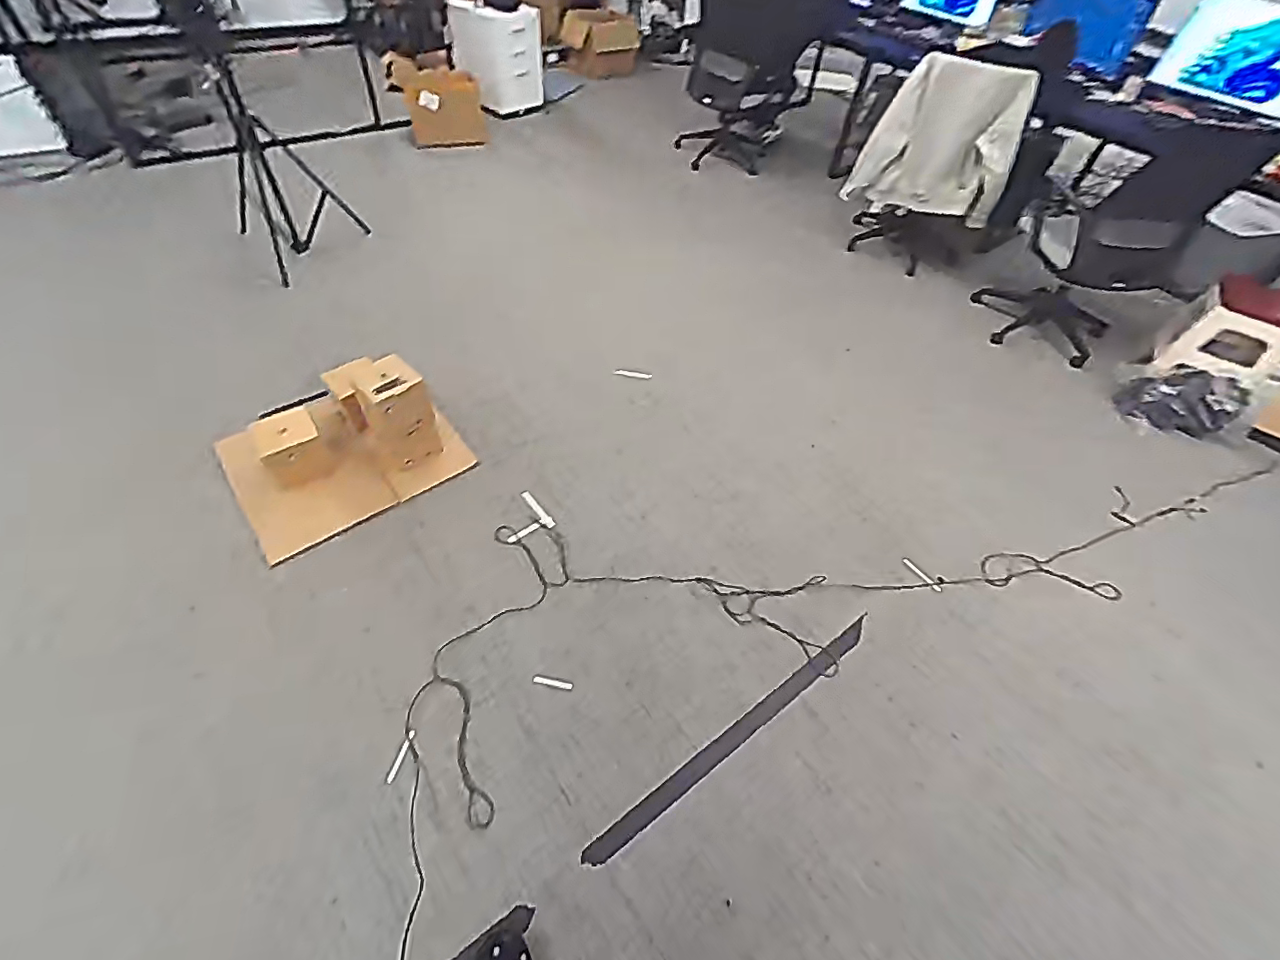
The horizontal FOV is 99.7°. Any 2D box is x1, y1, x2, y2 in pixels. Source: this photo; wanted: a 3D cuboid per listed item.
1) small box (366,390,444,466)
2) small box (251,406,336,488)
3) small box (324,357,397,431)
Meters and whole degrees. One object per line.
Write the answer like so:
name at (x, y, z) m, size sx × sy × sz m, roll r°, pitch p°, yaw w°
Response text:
small box at (-0.802, -0.170, 1.864) m, size 0.168 × 0.176 × 0.179 m, roll -35°, pitch 62°, yaw -29°
small box at (-1.130, -0.106, 1.778) m, size 0.179 × 0.176 × 0.168 m, roll -28°, pitch 59°, yaw -24°
small box at (-0.998, -0.310, 1.962) m, size 0.179 × 0.176 × 0.168 m, roll -36°, pitch 61°, yaw -28°
